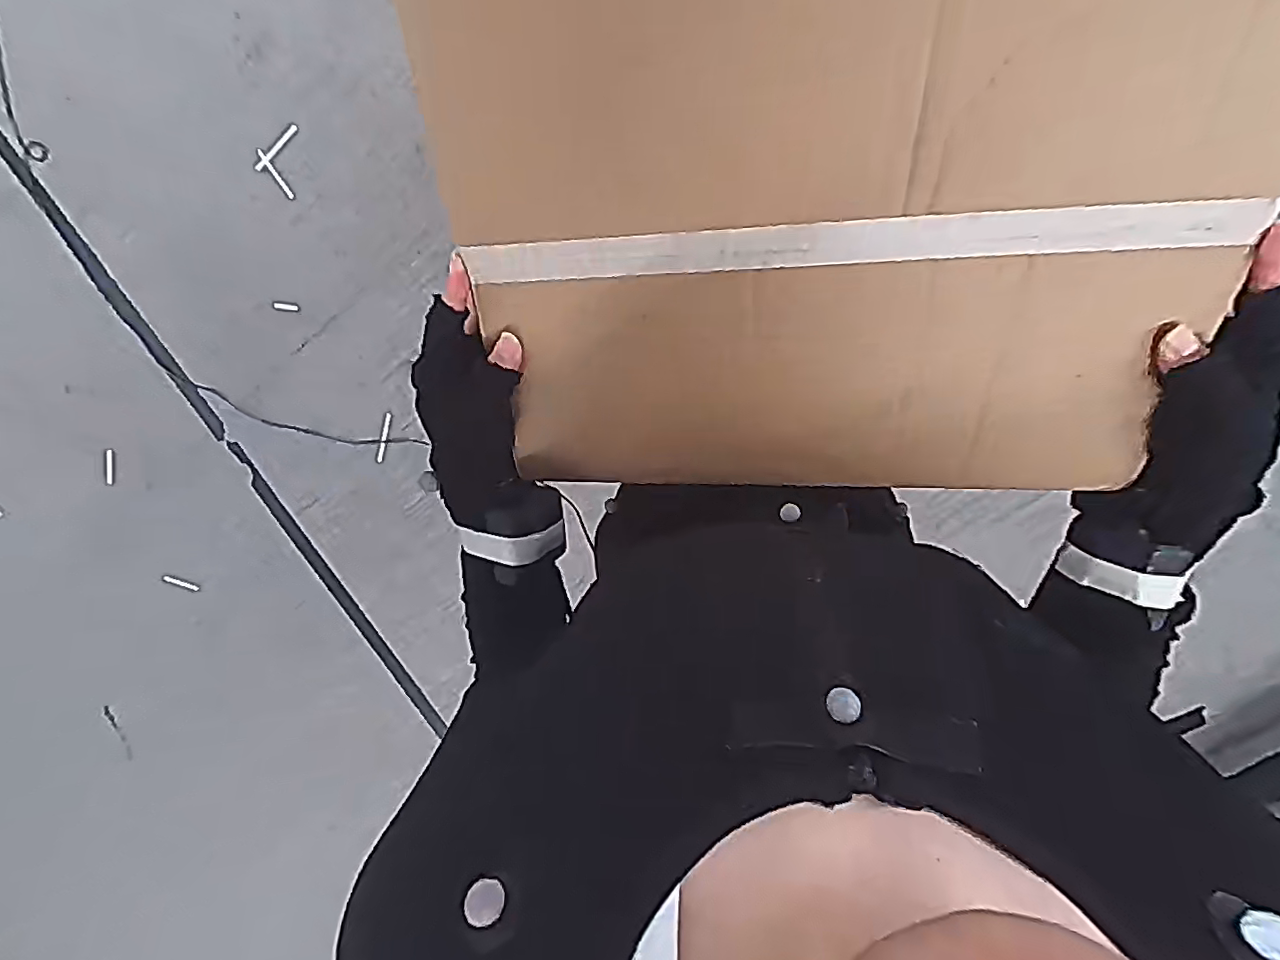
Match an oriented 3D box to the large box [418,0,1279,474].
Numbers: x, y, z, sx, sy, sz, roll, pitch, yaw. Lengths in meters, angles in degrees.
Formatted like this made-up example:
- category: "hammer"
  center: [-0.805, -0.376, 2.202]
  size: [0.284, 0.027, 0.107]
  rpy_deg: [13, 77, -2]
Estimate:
- category: "large box"
  center: [0.116, -0.216, 0.415]
  size: [0.408, 0.320, 0.320]
  rpy_deg: [1, 126, 9]
